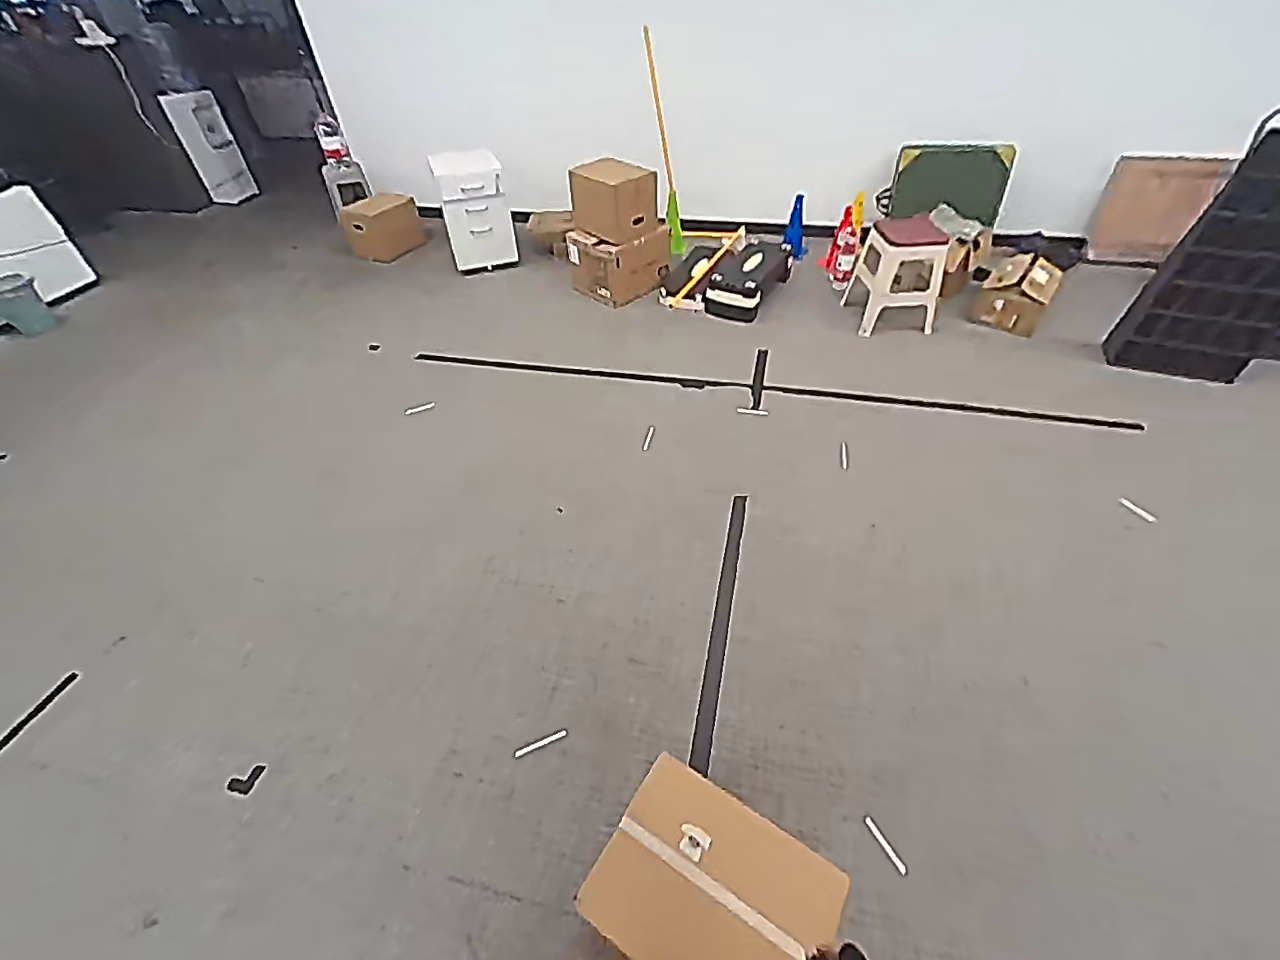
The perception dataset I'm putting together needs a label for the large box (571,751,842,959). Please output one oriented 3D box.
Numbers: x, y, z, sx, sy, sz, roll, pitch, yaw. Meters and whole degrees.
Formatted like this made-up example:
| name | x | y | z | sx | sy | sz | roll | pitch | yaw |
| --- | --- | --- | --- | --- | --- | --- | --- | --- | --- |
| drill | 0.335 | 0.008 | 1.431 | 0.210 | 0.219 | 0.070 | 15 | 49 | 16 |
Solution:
| name | x | y | z | sx | sy | sz | roll | pitch | yaw |
| --- | --- | --- | --- | --- | --- | --- | --- | --- | --- |
| large box | 0.127 | 0.836 | 1.071 | 0.408 | 0.320 | 0.320 | 24 | 47 | 25 |
